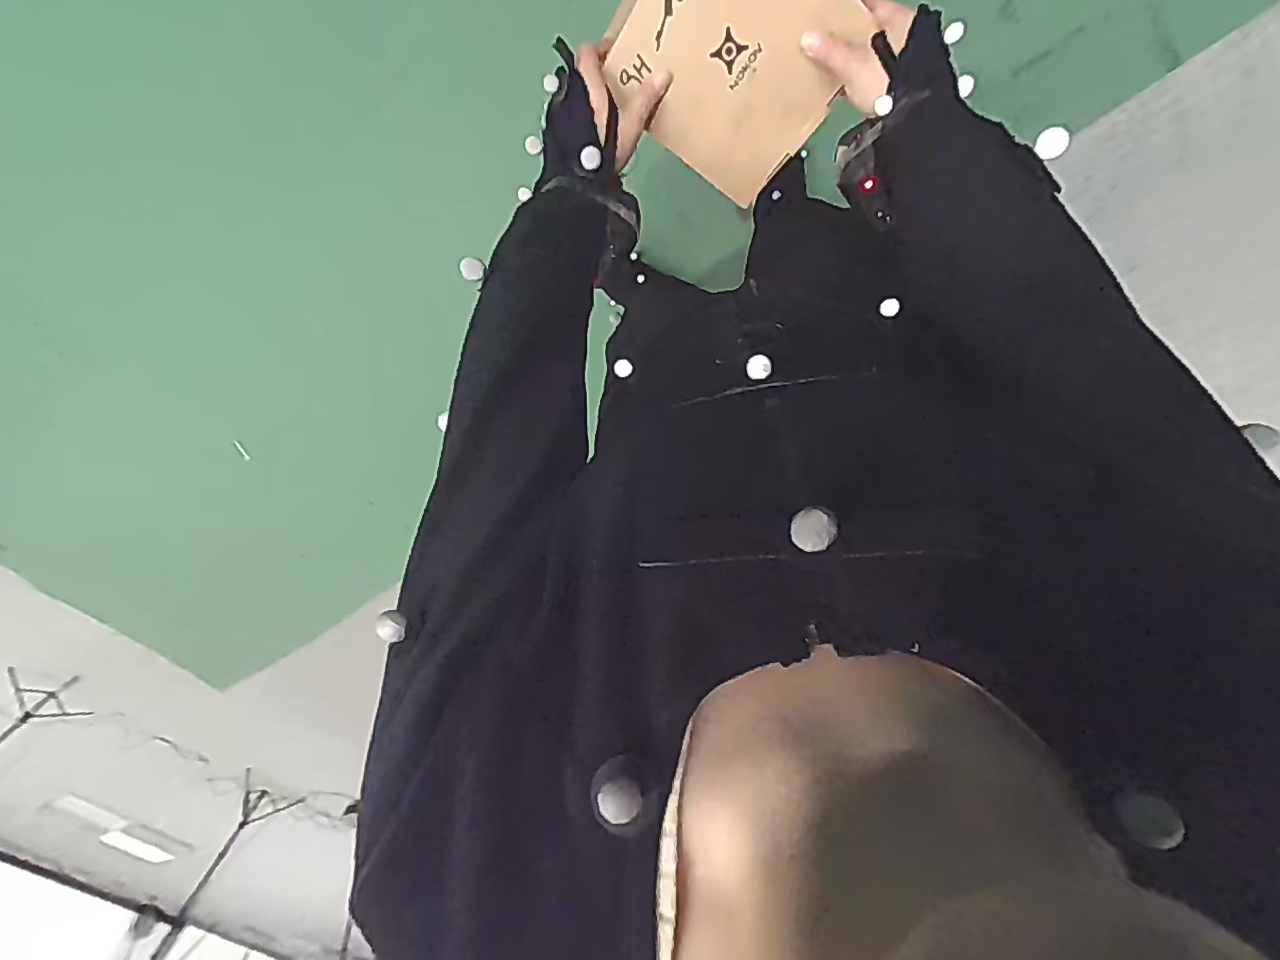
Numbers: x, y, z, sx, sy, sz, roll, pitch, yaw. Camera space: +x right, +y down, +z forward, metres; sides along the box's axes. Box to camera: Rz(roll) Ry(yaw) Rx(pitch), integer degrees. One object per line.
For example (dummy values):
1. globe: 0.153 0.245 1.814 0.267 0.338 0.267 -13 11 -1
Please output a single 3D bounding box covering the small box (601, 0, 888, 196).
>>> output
1. small box: 0.082 -0.409 0.490 0.179 0.176 0.168 25 131 -26
